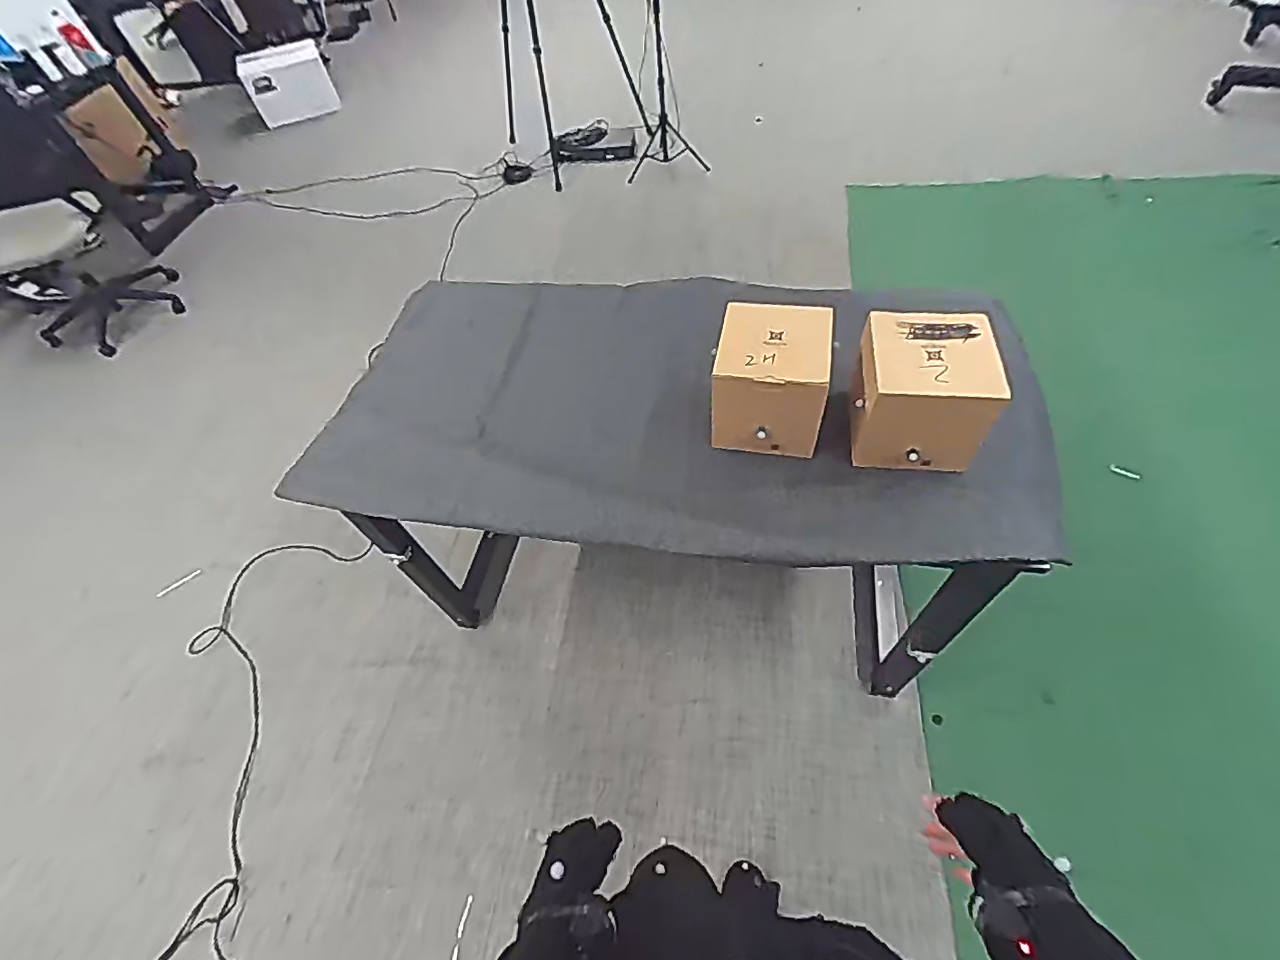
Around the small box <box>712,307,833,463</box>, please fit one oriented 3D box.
[{"bbox_3d":[0.210,-0.154,0.880,0.168,0.176,0.179,8,55,13],"label":"small box"}]
